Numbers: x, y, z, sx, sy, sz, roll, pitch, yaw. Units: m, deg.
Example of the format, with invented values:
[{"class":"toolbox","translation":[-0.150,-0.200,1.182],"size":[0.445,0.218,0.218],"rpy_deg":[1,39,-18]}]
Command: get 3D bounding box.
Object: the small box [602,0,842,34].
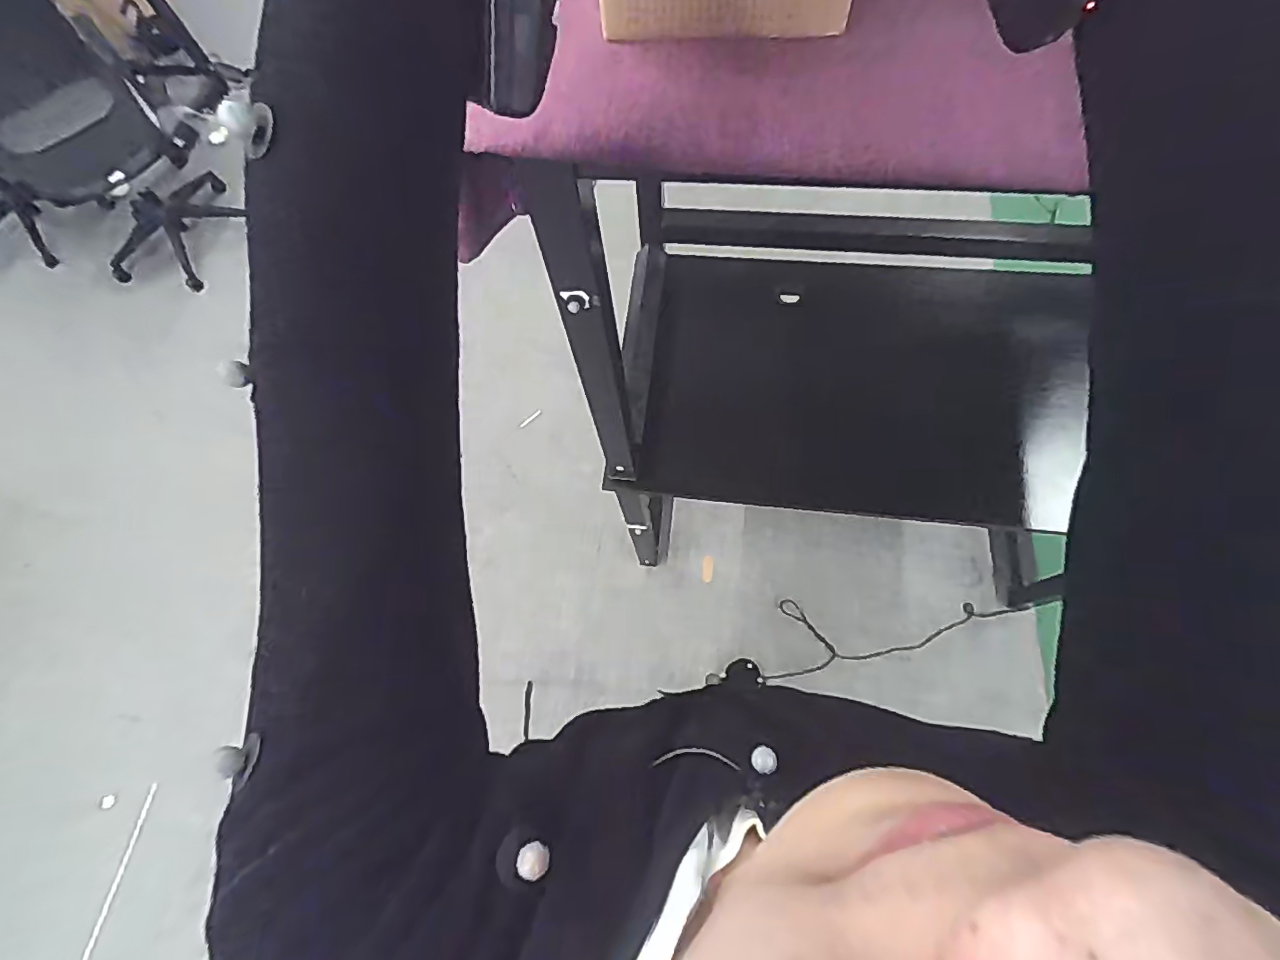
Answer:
[{"class":"small box","translation":[0.058,-0.429,0.349],"size":[0.179,0.176,0.168],"rpy_deg":[3,69,5]}]
